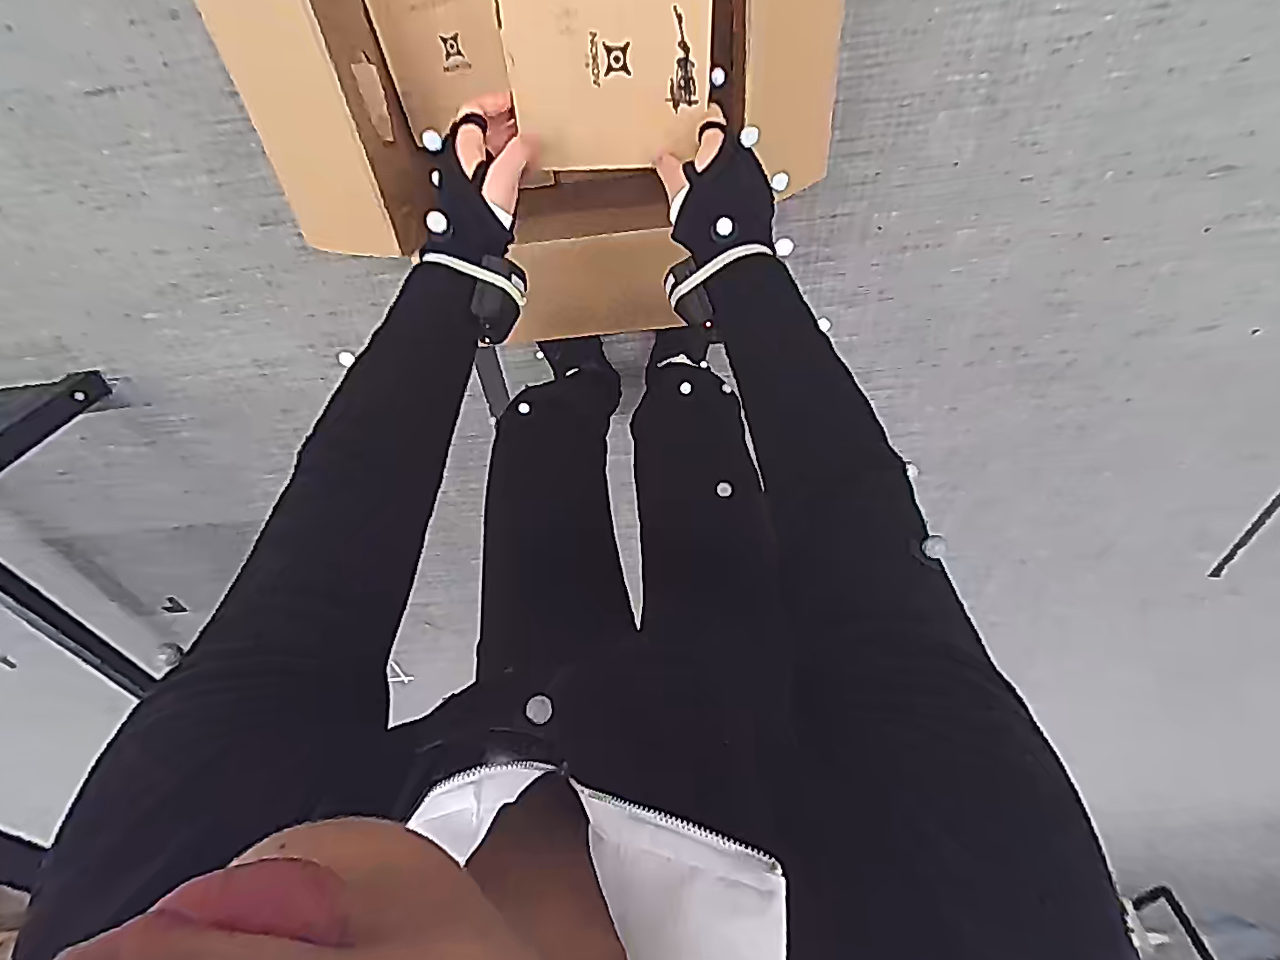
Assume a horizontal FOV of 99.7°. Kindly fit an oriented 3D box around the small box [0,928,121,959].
[{"bbox_3d":[-1.206,0.997,1.058,0.168,0.176,0.179,-10,130,9],"label":"small box"}]

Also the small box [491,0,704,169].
[{"bbox_3d":[-0.031,-0.411,0.522,0.179,0.176,0.168,0,133,2],"label":"small box"}]
